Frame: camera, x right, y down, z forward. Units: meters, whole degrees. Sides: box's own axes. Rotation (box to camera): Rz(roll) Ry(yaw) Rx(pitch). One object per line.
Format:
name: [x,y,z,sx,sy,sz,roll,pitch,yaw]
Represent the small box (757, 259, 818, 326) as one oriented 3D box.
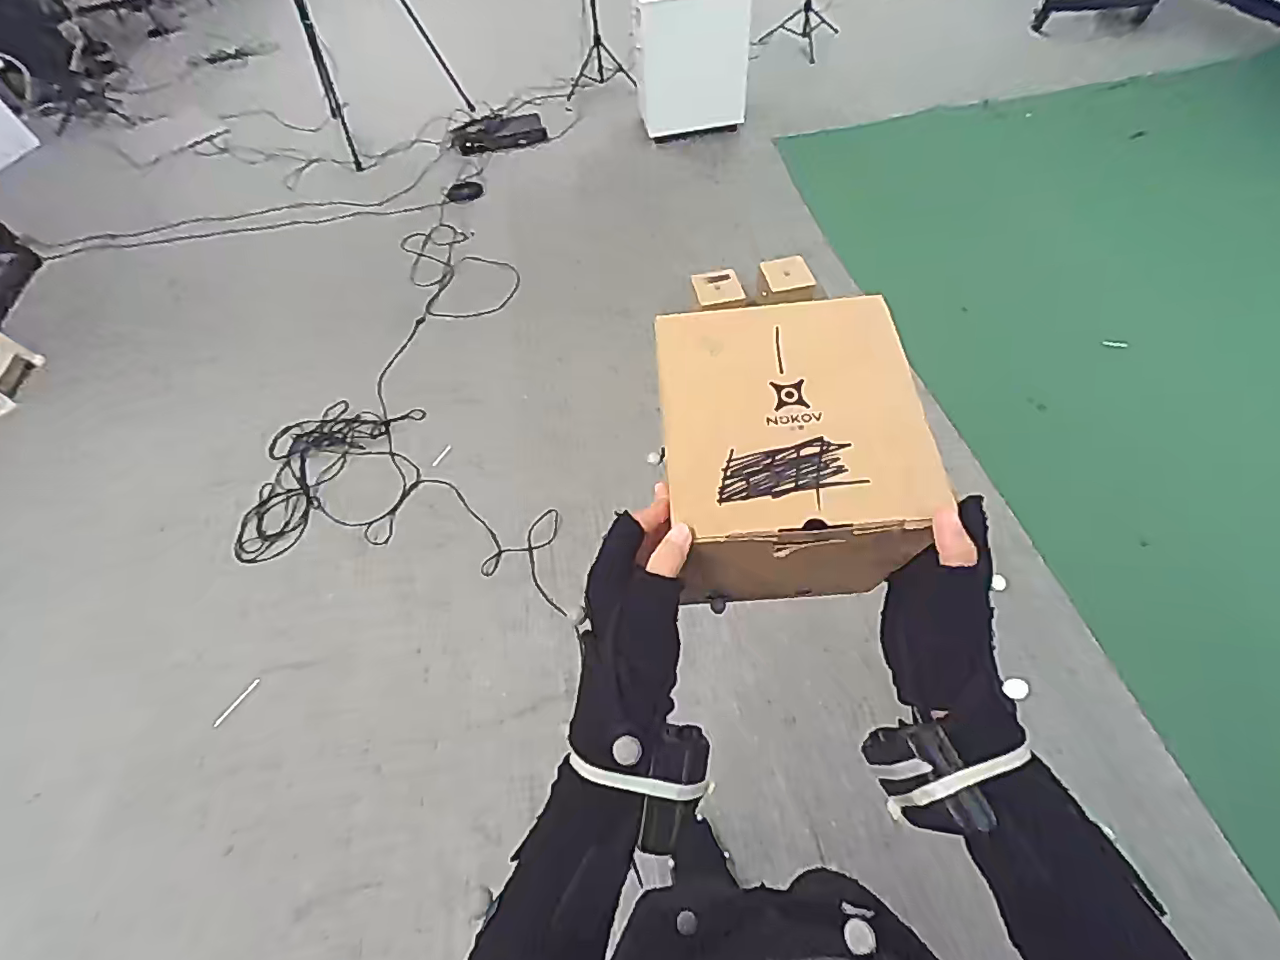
small box: [0.552,-0.701,2.046,0.168,0.176,0.179,-10,56,-2]
